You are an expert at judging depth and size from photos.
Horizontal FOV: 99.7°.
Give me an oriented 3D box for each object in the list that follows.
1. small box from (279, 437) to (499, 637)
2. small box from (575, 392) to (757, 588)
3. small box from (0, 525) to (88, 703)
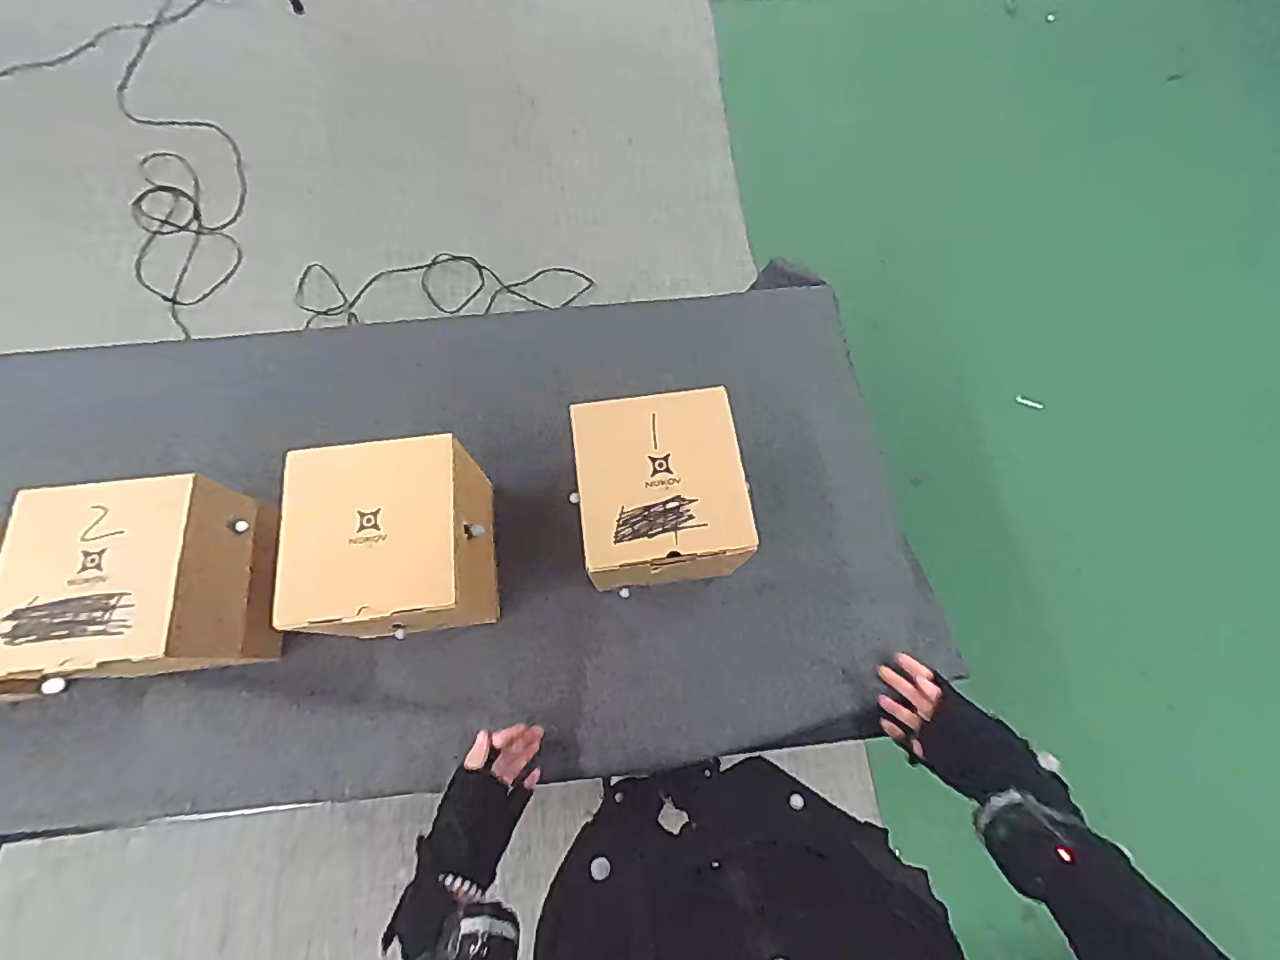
[{"bbox_3d":[-0.256,0.071,0.593,0.168,0.176,0.179,-6,73,-3],"label":"small box"},{"bbox_3d":[0.022,0.023,0.610,0.168,0.176,0.179,-7,71,-3],"label":"small box"},{"bbox_3d":[-0.737,0.141,0.554,0.168,0.176,0.179,-7,71,-4],"label":"small box"}]
